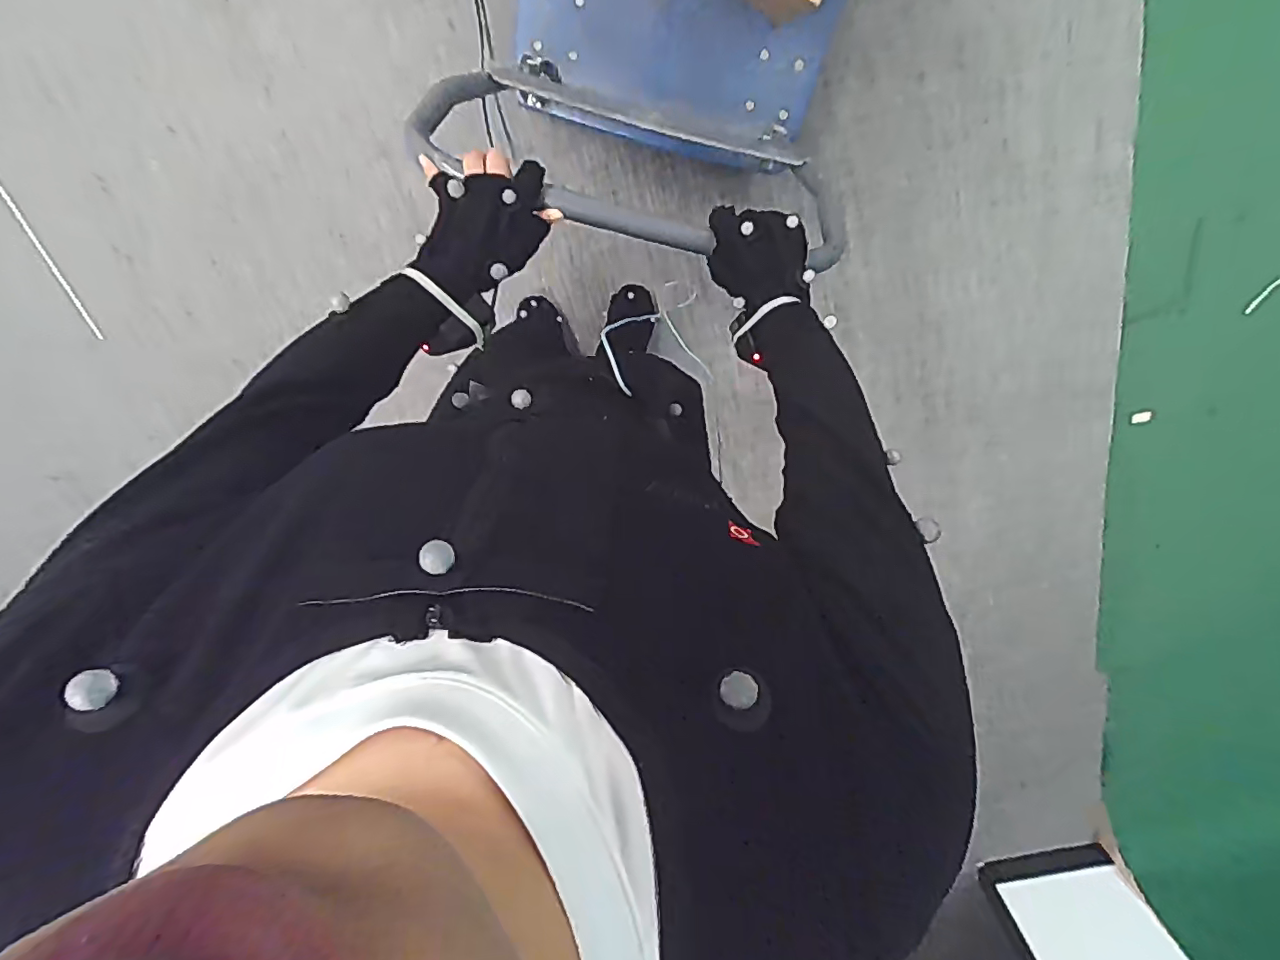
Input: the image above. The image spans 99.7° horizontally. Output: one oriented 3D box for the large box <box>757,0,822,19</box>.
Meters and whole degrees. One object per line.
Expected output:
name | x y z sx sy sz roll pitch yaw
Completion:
large box | 0.151 -0.924 0.737 0.408 0.320 0.320 25 125 -13
